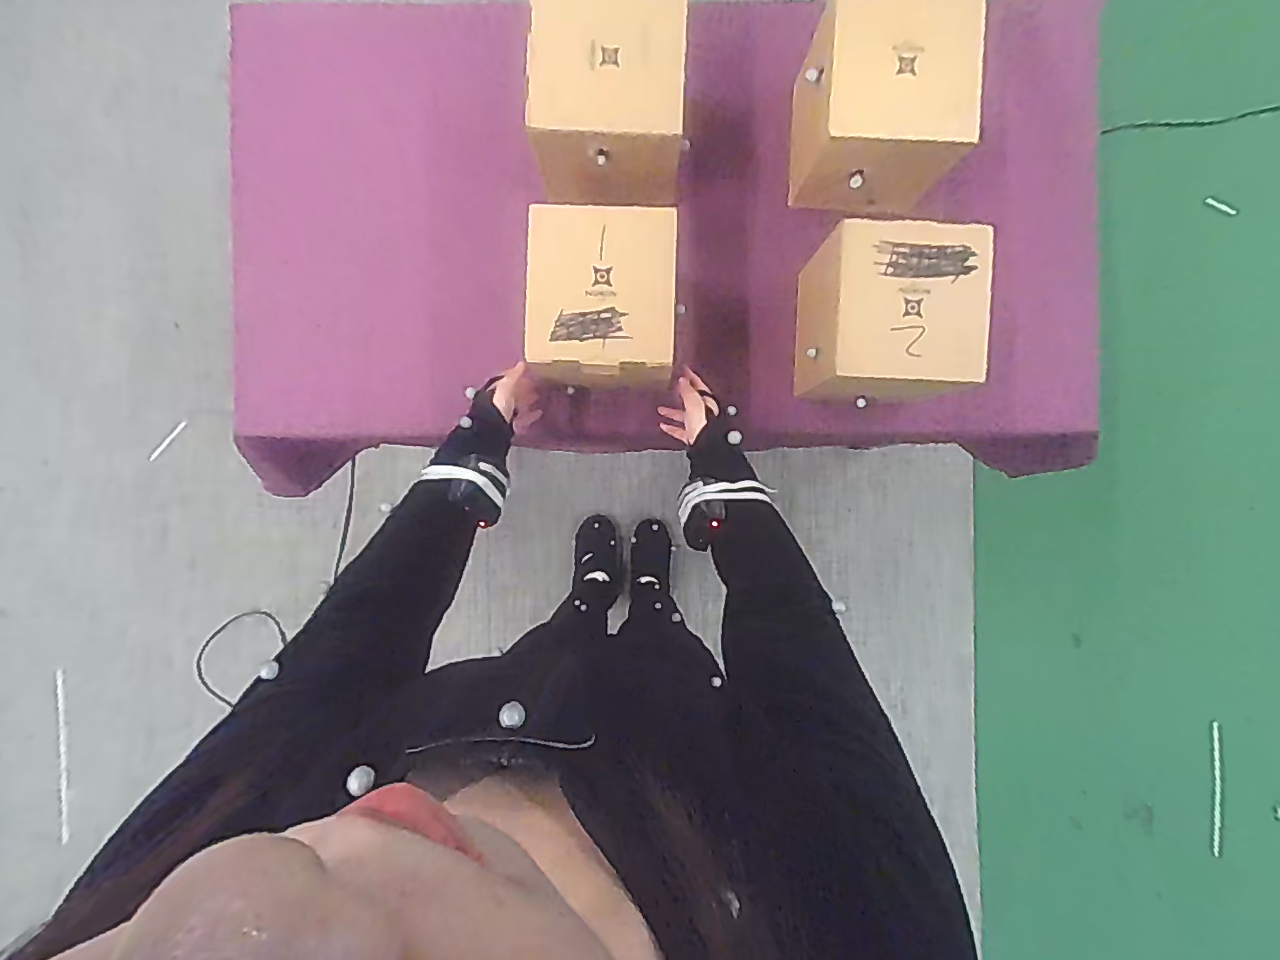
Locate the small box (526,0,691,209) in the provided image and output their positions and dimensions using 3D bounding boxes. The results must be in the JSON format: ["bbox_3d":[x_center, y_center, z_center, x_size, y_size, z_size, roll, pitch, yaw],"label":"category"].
[{"bbox_3d":[-0.034,-0.461,0.675,0.179,0.176,0.168,4,91,0],"label":"small box"}]

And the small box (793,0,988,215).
[{"bbox_3d":[0.295,-0.453,0.671,0.168,0.176,0.179,3,89,1],"label":"small box"}]

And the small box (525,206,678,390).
[{"bbox_3d":[-0.040,-0.211,0.673,0.168,0.176,0.179,2,89,1],"label":"small box"}]
